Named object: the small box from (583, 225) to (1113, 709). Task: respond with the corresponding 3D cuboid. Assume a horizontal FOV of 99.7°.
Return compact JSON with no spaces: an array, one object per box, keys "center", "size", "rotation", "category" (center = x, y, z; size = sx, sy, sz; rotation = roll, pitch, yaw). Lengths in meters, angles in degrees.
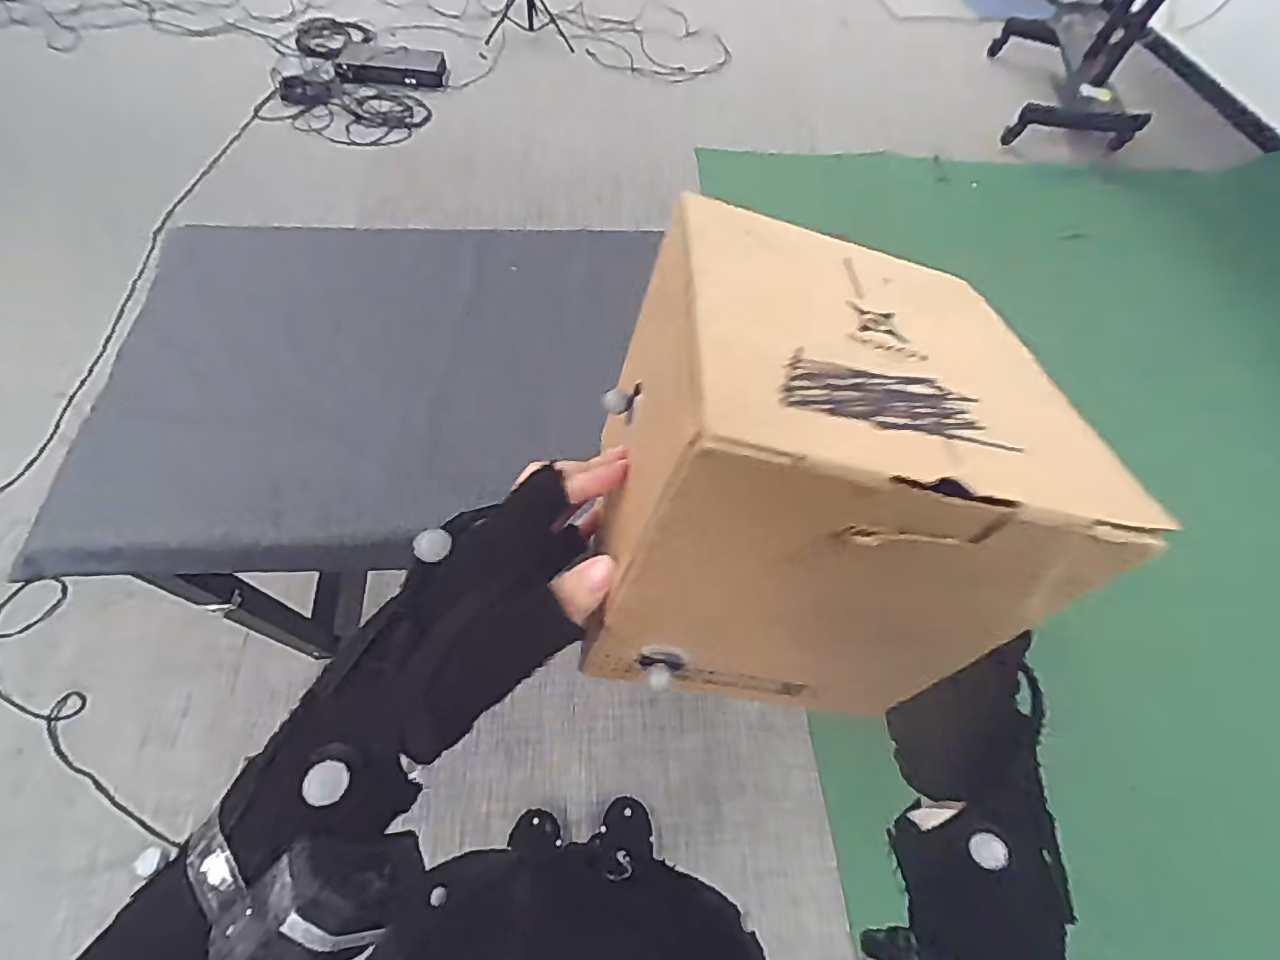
[{"center":[0.069,0.002,0.288],"size":[0.168,0.176,0.179],"rotation":[12,46,-10],"category":"small box"}]
